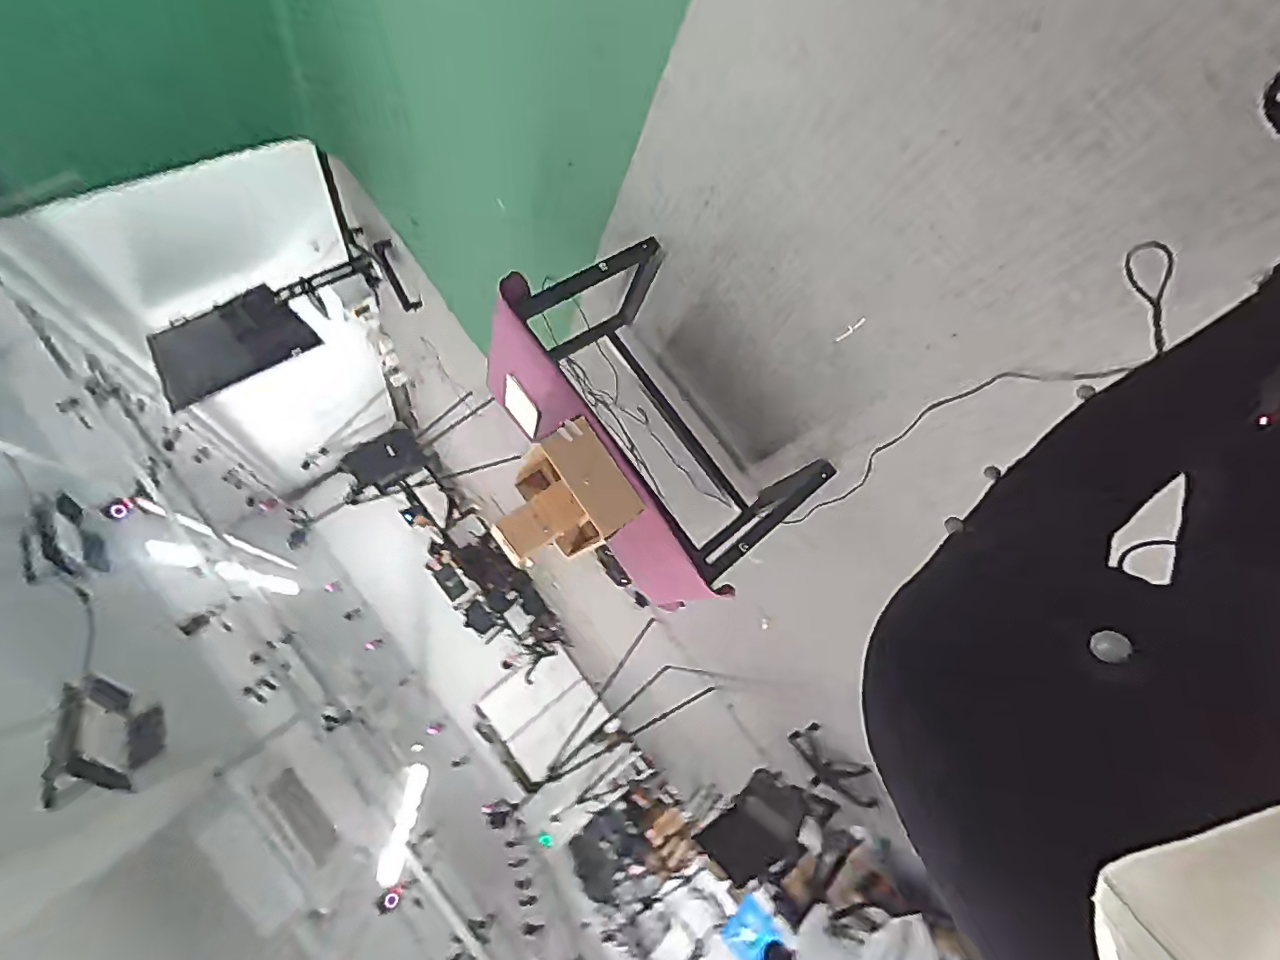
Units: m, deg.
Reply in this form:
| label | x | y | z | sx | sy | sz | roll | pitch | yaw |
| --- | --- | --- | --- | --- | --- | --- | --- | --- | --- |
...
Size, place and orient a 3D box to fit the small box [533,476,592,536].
| label | x | y | z | sx | sy | sz | roll | pitch | yaw |
| --- | --- | --- | --- | --- | --- | --- | --- | --- | --- |
| small box | -0.310 | 0.108 | 2.127 | 0.168 | 0.176 | 0.179 | 54 | 155 | 3 |

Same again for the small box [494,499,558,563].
| label | x | y | z | sx | sy | sz | roll | pitch | yaw |
| --- | --- | --- | --- | --- | --- | --- | --- | --- | --- |
| small box | -0.435 | 0.195 | 2.065 | 0.168 | 0.176 | 0.179 | 54 | 156 | 3 |
